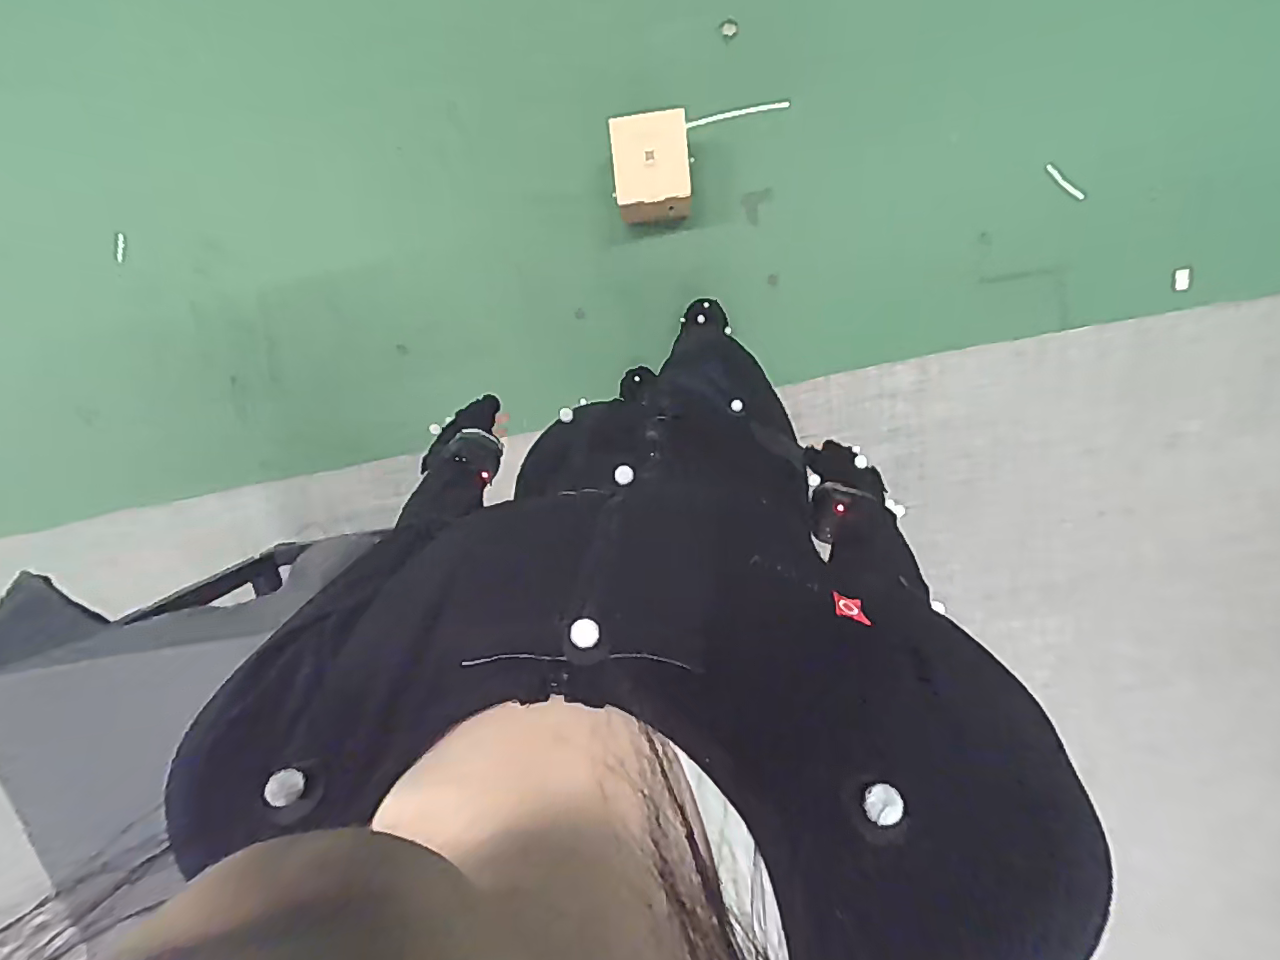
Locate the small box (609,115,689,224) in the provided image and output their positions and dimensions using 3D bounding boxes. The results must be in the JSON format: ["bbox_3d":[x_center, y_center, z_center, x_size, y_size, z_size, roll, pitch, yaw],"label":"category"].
[{"bbox_3d":[0.026,-0.708,1.258,0.168,0.176,0.179,-5,102,5],"label":"small box"}]
